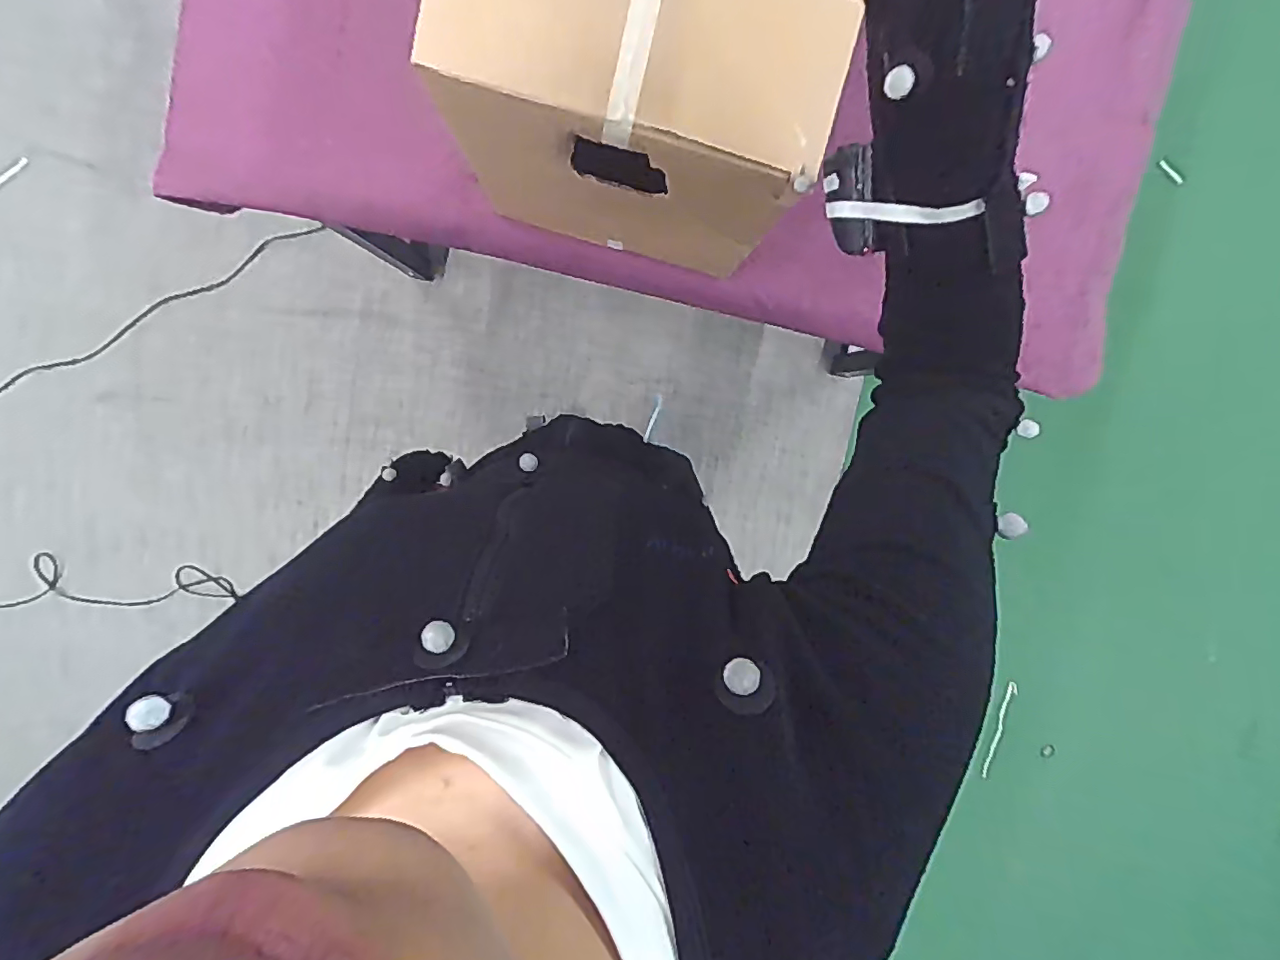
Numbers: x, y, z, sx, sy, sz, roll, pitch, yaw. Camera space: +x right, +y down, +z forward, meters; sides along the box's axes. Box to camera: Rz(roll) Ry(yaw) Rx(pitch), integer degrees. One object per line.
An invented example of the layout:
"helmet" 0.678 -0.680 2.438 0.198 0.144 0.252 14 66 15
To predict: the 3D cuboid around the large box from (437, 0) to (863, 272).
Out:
"large box" 0.029 -0.482 0.546 0.320 0.320 0.408 14 97 -5
